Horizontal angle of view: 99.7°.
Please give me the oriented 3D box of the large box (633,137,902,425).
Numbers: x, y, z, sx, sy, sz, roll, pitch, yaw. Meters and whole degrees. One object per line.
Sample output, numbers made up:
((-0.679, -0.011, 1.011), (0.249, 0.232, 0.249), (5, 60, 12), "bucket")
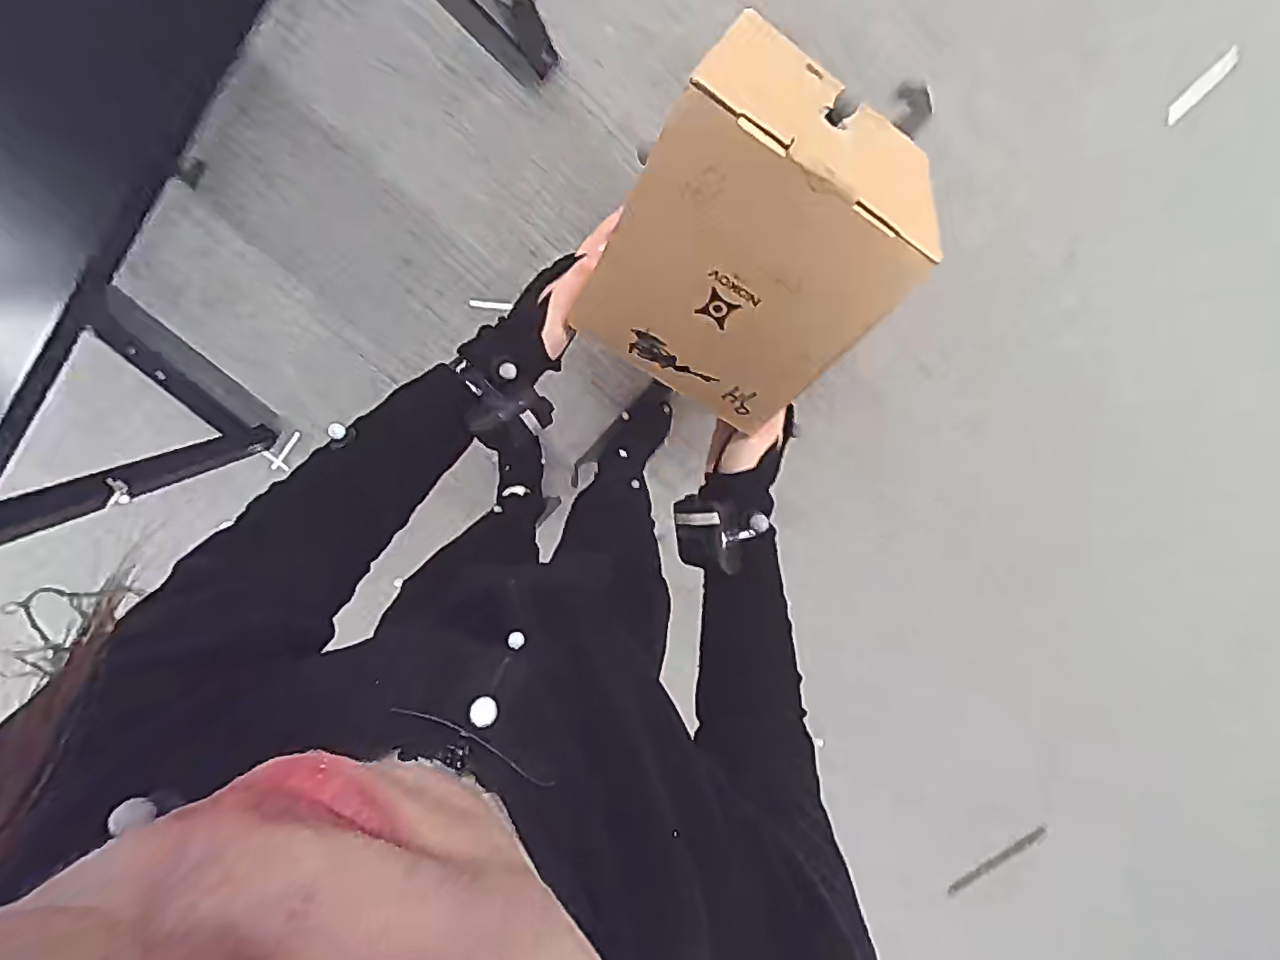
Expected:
((0.230, -0.382, 1.121), (0.320, 0.320, 0.408), (42, 104, -11), "large box")
